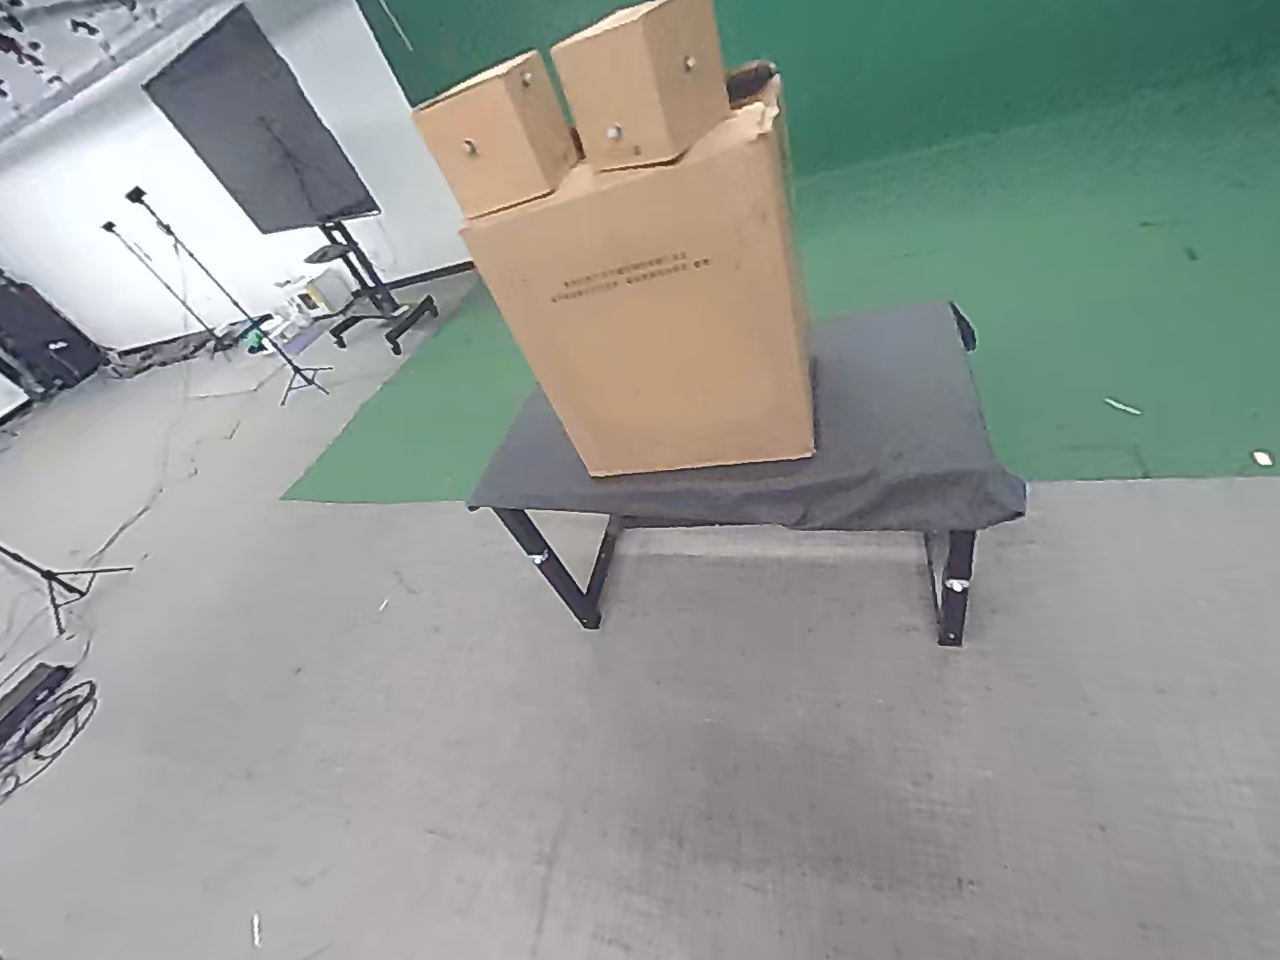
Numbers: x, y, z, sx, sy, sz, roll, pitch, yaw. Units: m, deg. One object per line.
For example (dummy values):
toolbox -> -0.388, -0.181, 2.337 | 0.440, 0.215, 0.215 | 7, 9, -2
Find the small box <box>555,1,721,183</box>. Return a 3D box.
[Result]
small box -> 0.008, -0.581, 0.826 | 0.168, 0.176, 0.179 | 15, 55, 37

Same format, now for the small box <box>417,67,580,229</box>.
small box -> -0.231, -0.559, 0.925 | 0.179, 0.176, 0.168 | -7, 45, 23
